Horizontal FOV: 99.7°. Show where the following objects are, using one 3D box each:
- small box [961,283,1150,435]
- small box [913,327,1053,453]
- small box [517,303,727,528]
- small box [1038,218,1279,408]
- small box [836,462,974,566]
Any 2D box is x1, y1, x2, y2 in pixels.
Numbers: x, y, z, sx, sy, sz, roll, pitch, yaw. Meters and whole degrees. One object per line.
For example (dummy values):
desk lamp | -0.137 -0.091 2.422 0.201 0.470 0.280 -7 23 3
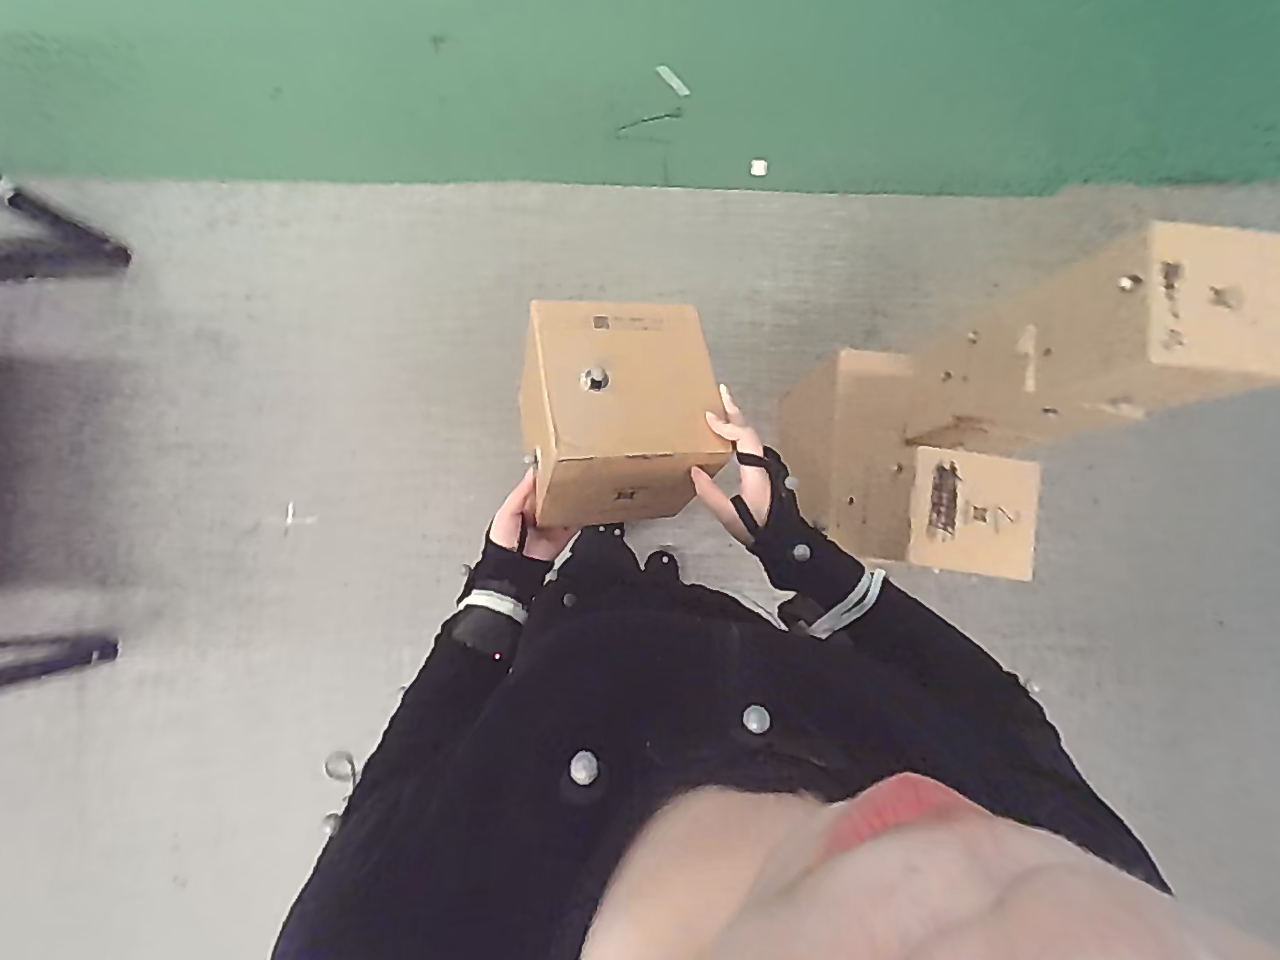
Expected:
small box | 0.636 -0.175 0.835 0.179 0.176 0.168 14 85 -1
small box | 0.632 -0.157 0.999 0.168 0.176 0.179 12 86 1
small box | -0.035 -0.064 0.563 0.168 0.179 0.176 -4 68 -18
small box | 0.646 -0.192 0.672 0.179 0.176 0.168 7 85 -1
small box | 0.469 0.063 0.978 0.179 0.176 0.168 3 85 0
